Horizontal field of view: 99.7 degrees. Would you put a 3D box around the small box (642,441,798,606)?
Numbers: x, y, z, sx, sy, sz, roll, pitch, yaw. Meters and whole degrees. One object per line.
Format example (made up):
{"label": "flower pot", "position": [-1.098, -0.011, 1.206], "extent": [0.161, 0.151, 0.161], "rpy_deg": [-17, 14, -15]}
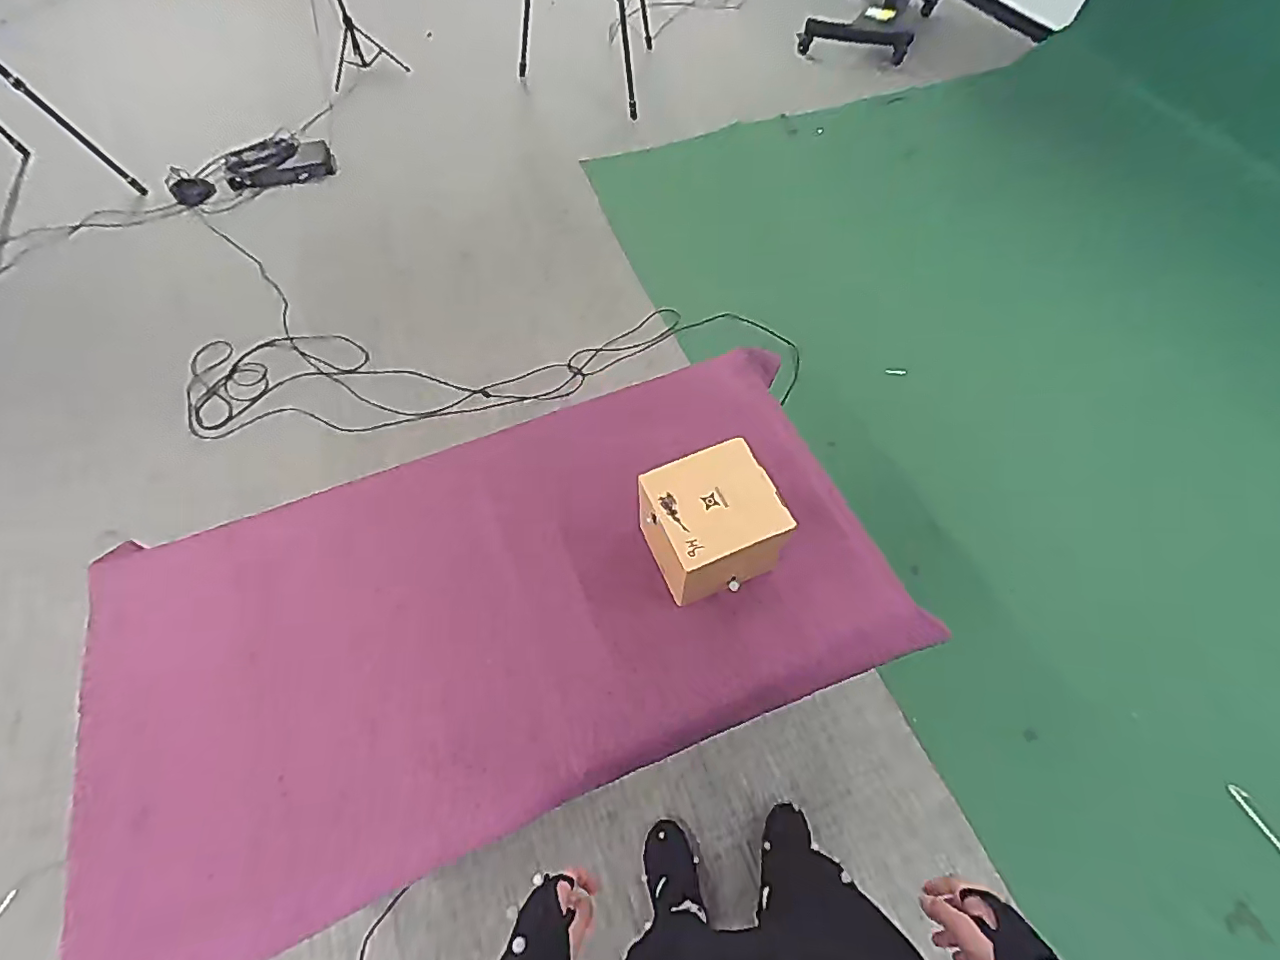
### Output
{"label": "small box", "position": [0.110, 0.071, 0.835], "extent": [0.179, 0.176, 0.168], "rpy_deg": [-20, 62, -11]}
